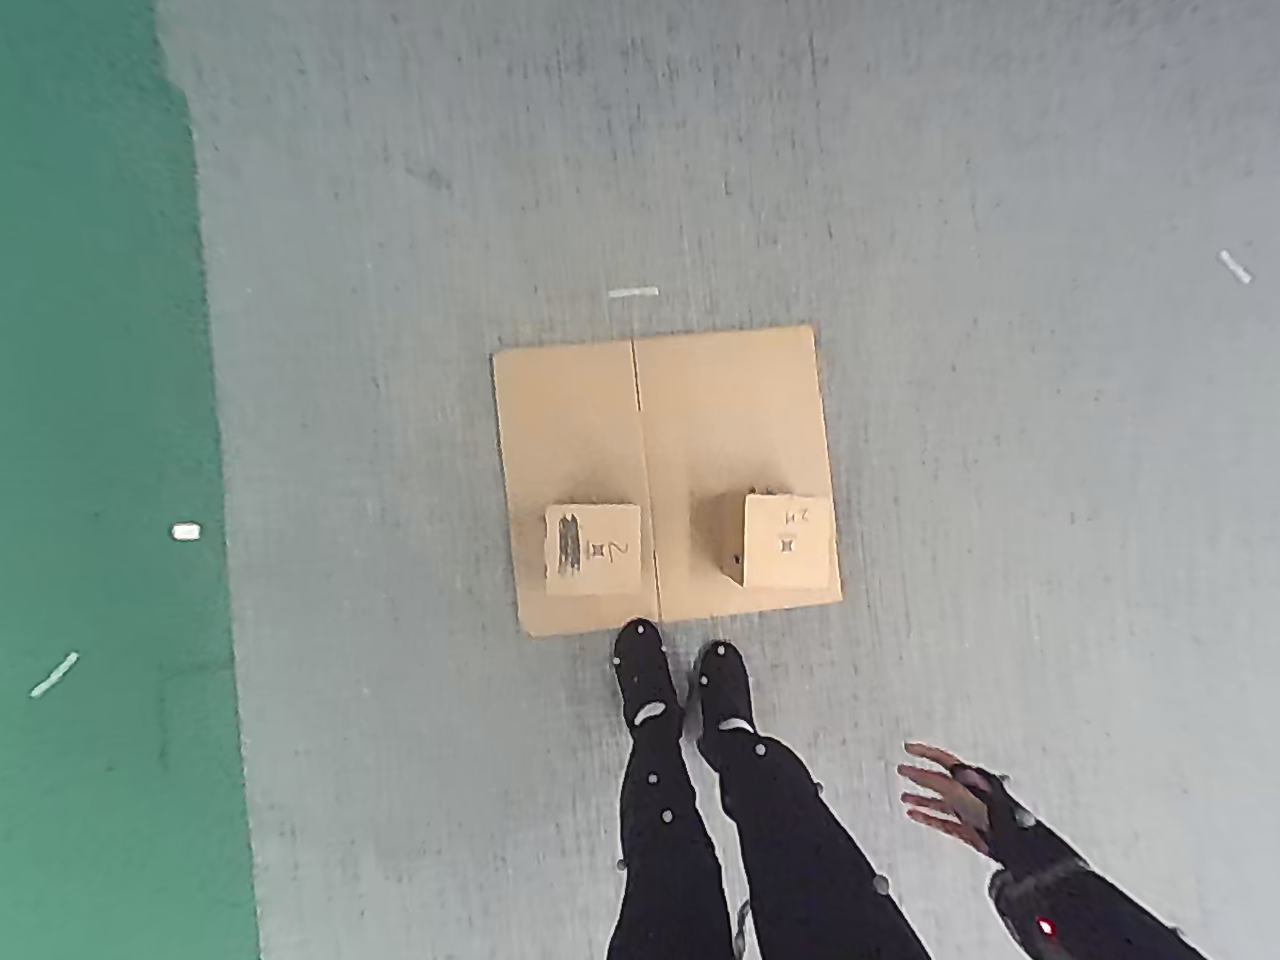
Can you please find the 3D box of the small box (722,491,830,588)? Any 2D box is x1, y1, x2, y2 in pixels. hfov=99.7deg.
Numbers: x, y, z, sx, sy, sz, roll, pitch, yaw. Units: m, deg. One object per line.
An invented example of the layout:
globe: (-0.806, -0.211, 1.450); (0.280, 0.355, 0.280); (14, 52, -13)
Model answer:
small box: (0.264, 0.113, 1.083); (0.168, 0.176, 0.179); (2, 88, -5)
